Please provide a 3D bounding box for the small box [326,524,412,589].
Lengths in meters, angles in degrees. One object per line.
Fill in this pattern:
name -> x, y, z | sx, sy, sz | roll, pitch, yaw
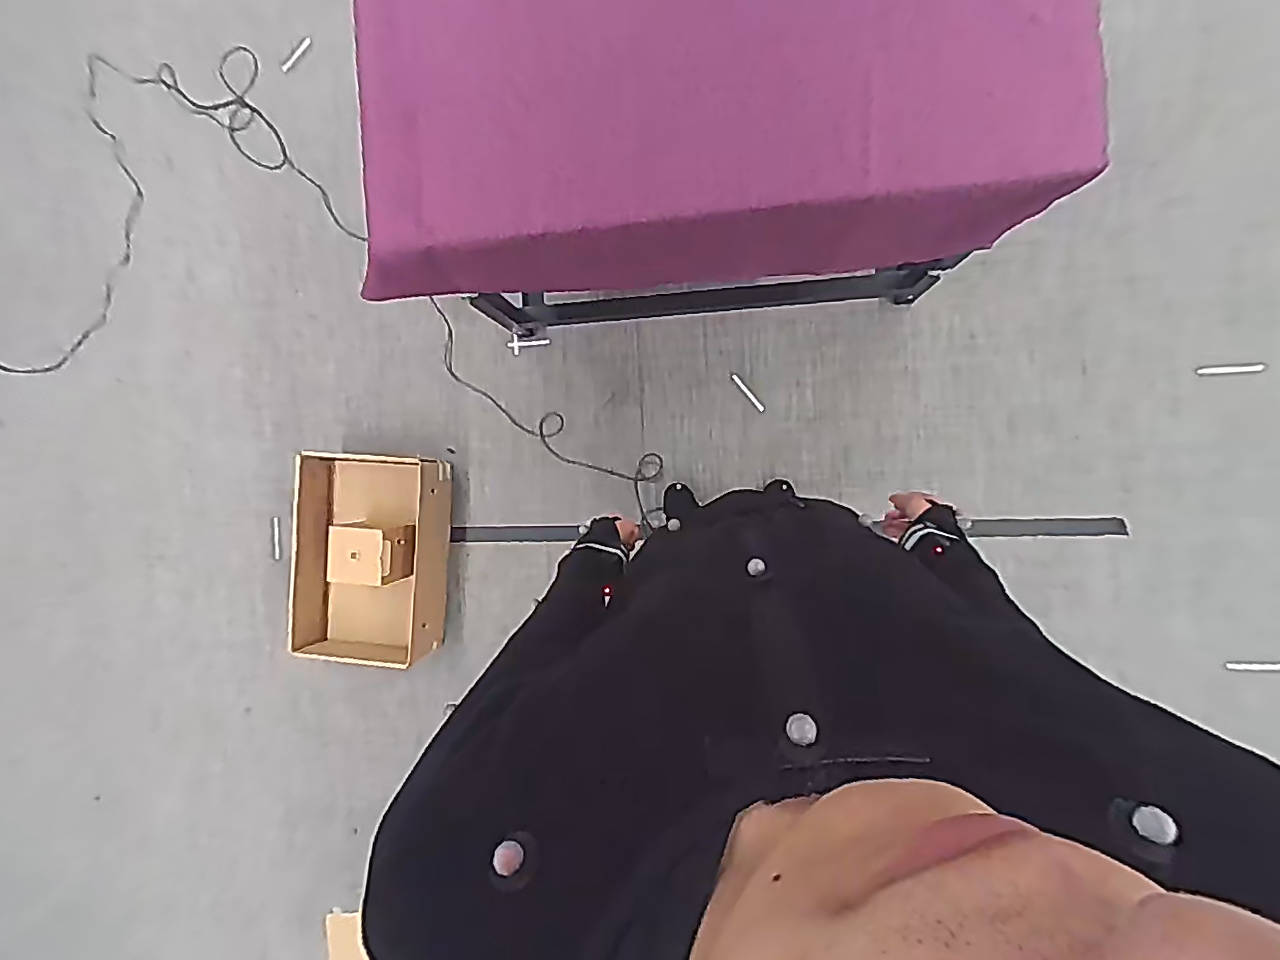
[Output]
small box -> -0.812, 0.226, 1.635 | 0.179, 0.176, 0.168 | 4, 91, 7
